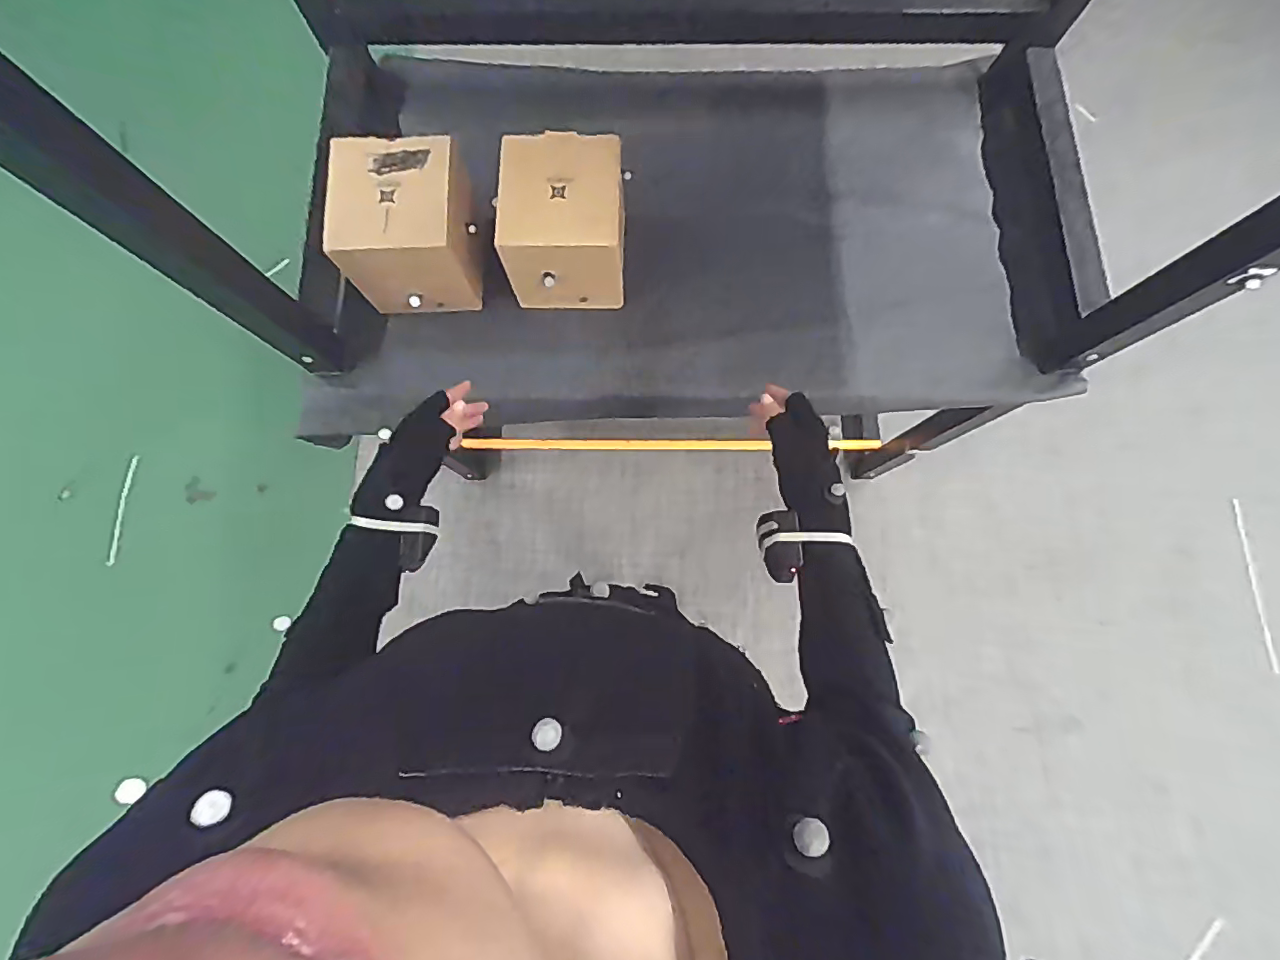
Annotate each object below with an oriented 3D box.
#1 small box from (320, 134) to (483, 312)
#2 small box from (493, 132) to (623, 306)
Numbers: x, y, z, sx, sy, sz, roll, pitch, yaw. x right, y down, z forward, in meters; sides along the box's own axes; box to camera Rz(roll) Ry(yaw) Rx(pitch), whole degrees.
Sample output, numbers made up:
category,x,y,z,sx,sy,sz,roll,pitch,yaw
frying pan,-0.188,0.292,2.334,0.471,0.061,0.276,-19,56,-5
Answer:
category,x,y,z,sx,sy,sz,roll,pitch,yaw
small box,-0.337,-0.370,0.798,0.168,0.176,0.179,-2,78,-1
small box,-0.110,-0.376,0.802,0.168,0.176,0.179,0,77,0
